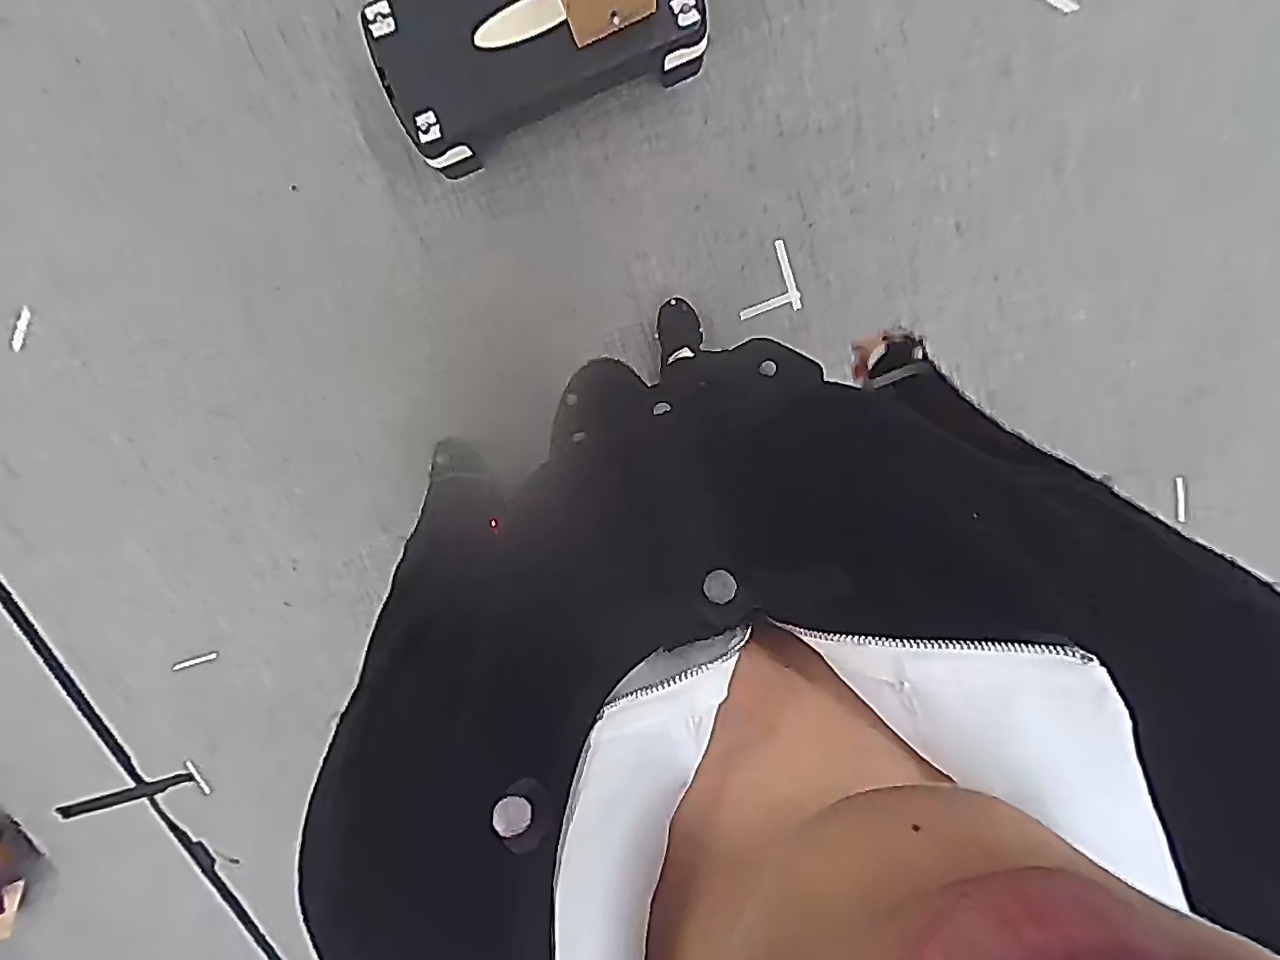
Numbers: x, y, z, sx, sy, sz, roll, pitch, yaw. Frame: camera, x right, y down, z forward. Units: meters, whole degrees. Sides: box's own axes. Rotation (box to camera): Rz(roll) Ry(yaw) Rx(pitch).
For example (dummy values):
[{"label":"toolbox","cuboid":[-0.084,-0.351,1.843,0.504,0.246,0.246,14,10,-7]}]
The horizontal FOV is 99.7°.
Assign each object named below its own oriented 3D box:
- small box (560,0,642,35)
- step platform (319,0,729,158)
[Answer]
[{"label":"small box","cuboid":[-0.080,-0.938,0.964,0.168,0.176,0.179,-20,105,7]},{"label":"step platform","cuboid":[-0.191,-0.851,0.953,0.684,0.204,0.286,-20,104,5]}]
